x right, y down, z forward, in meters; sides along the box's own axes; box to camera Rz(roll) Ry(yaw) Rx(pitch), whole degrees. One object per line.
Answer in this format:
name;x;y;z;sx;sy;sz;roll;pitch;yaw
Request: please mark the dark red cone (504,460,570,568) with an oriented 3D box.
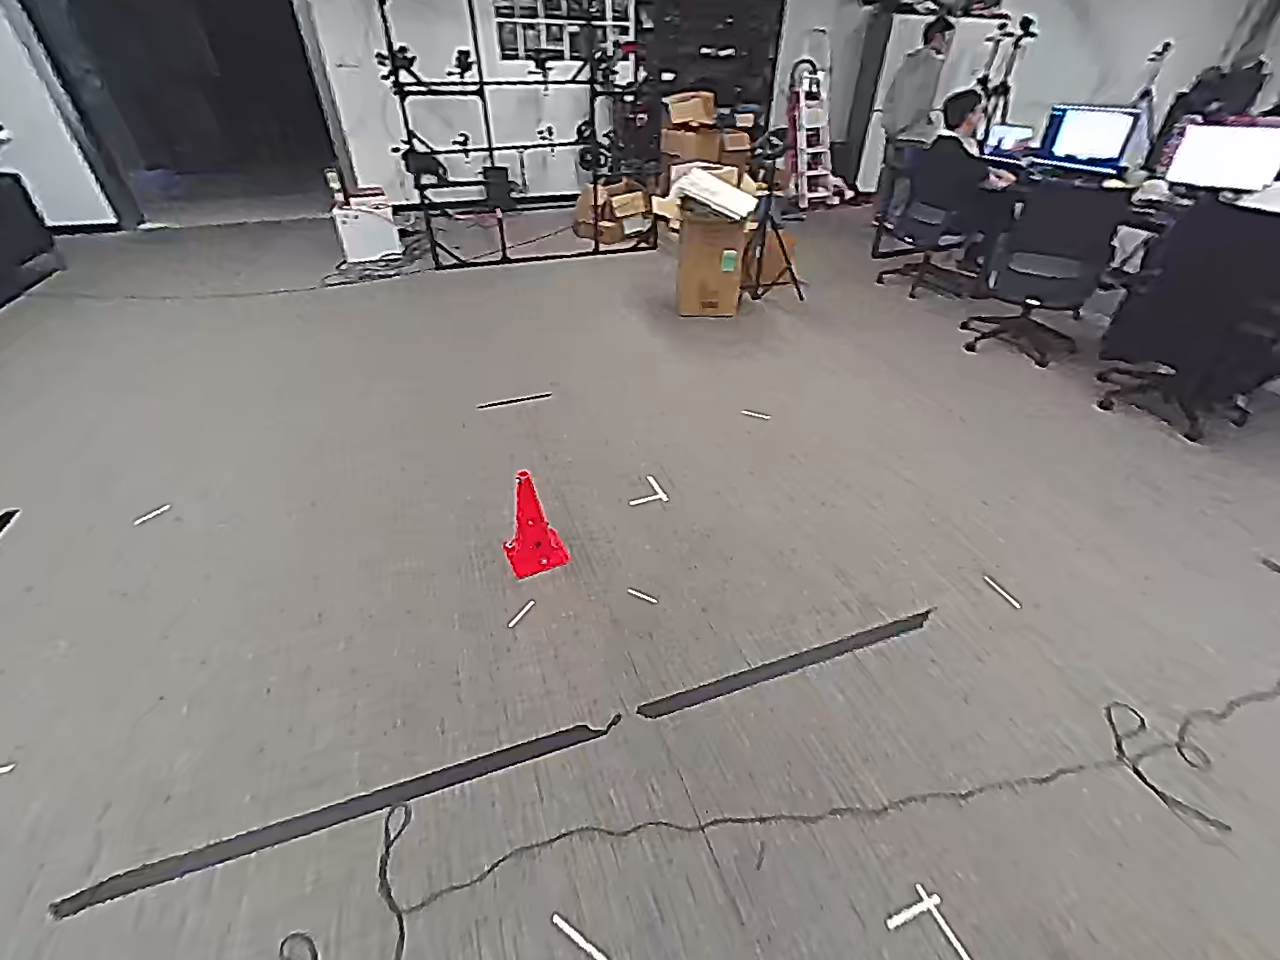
dark red cone;-0.368;0.100;1.833;0.202;0.394;0.201;-17;42;-22
